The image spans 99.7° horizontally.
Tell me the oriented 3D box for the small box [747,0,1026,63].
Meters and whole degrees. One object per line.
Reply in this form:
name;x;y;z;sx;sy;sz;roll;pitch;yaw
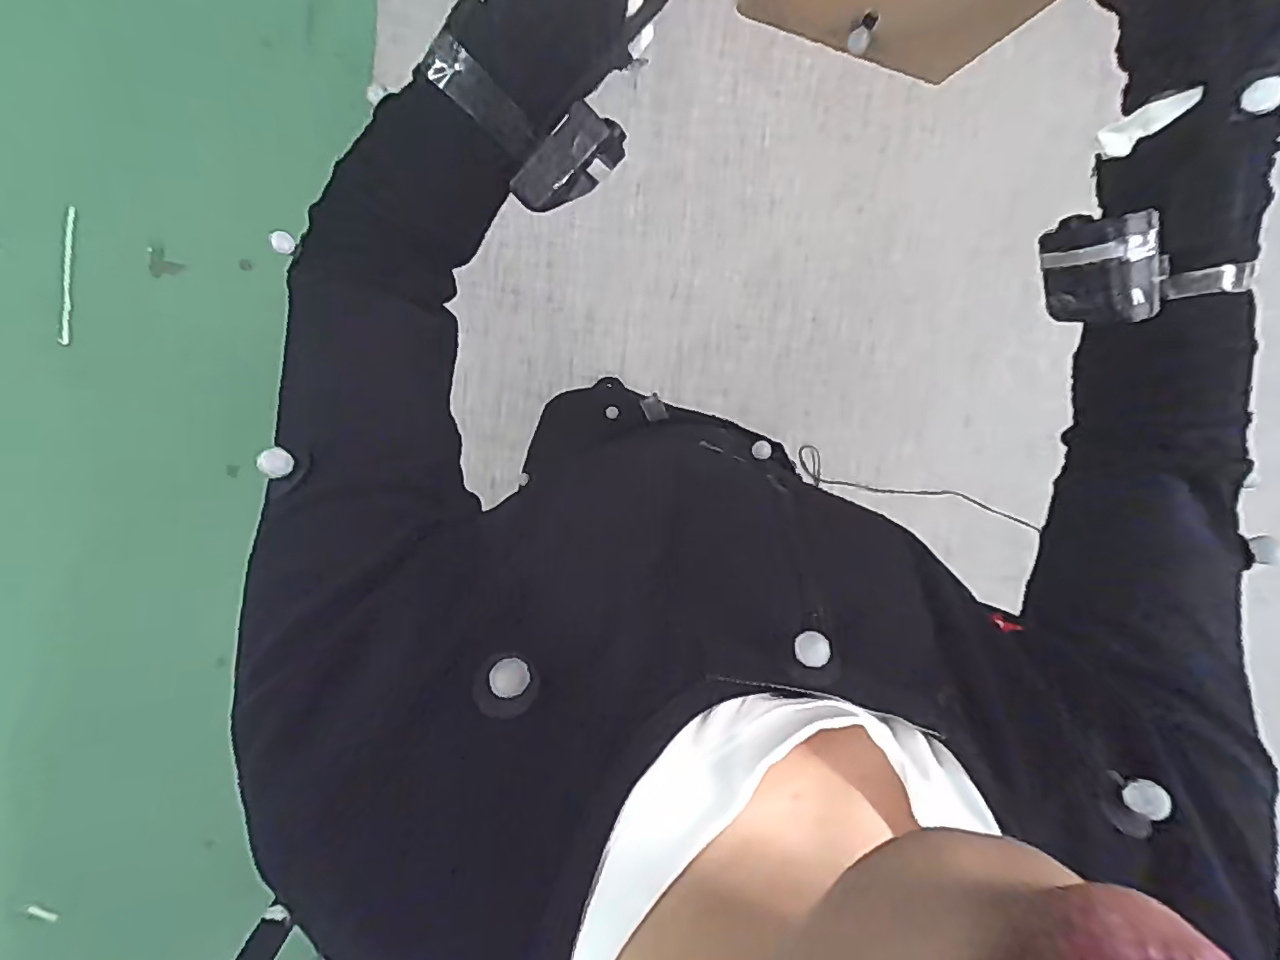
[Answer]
small box;0.179;-0.394;0.320;0.179;0.176;0.168;12;102;-10
